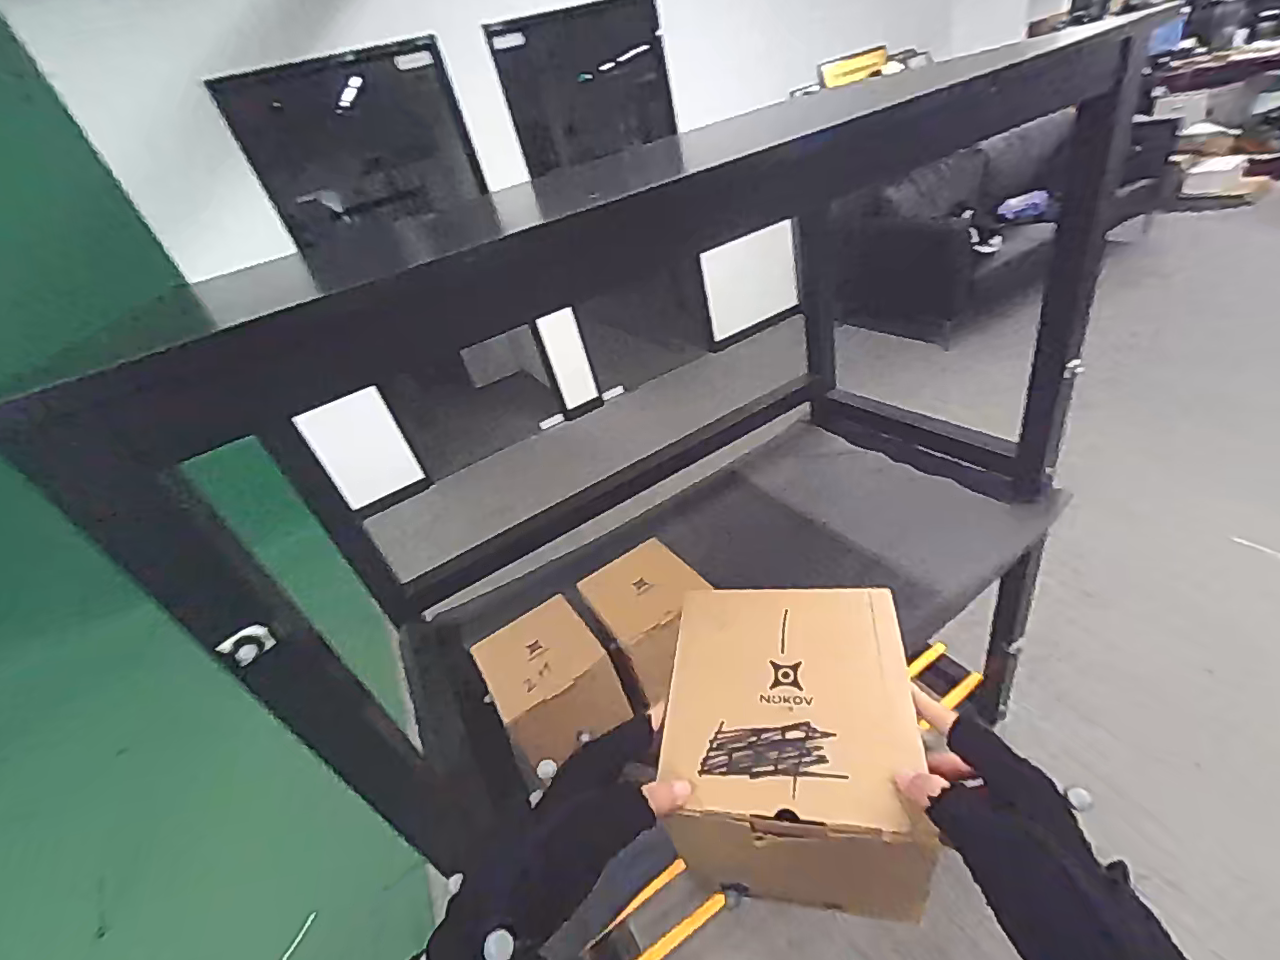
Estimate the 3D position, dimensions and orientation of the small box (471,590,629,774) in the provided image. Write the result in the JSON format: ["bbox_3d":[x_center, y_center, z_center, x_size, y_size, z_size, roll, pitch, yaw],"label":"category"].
[{"bbox_3d":[-0.141,0.317,0.857,0.168,0.176,0.179,-30,35,-19],"label":"small box"}]
